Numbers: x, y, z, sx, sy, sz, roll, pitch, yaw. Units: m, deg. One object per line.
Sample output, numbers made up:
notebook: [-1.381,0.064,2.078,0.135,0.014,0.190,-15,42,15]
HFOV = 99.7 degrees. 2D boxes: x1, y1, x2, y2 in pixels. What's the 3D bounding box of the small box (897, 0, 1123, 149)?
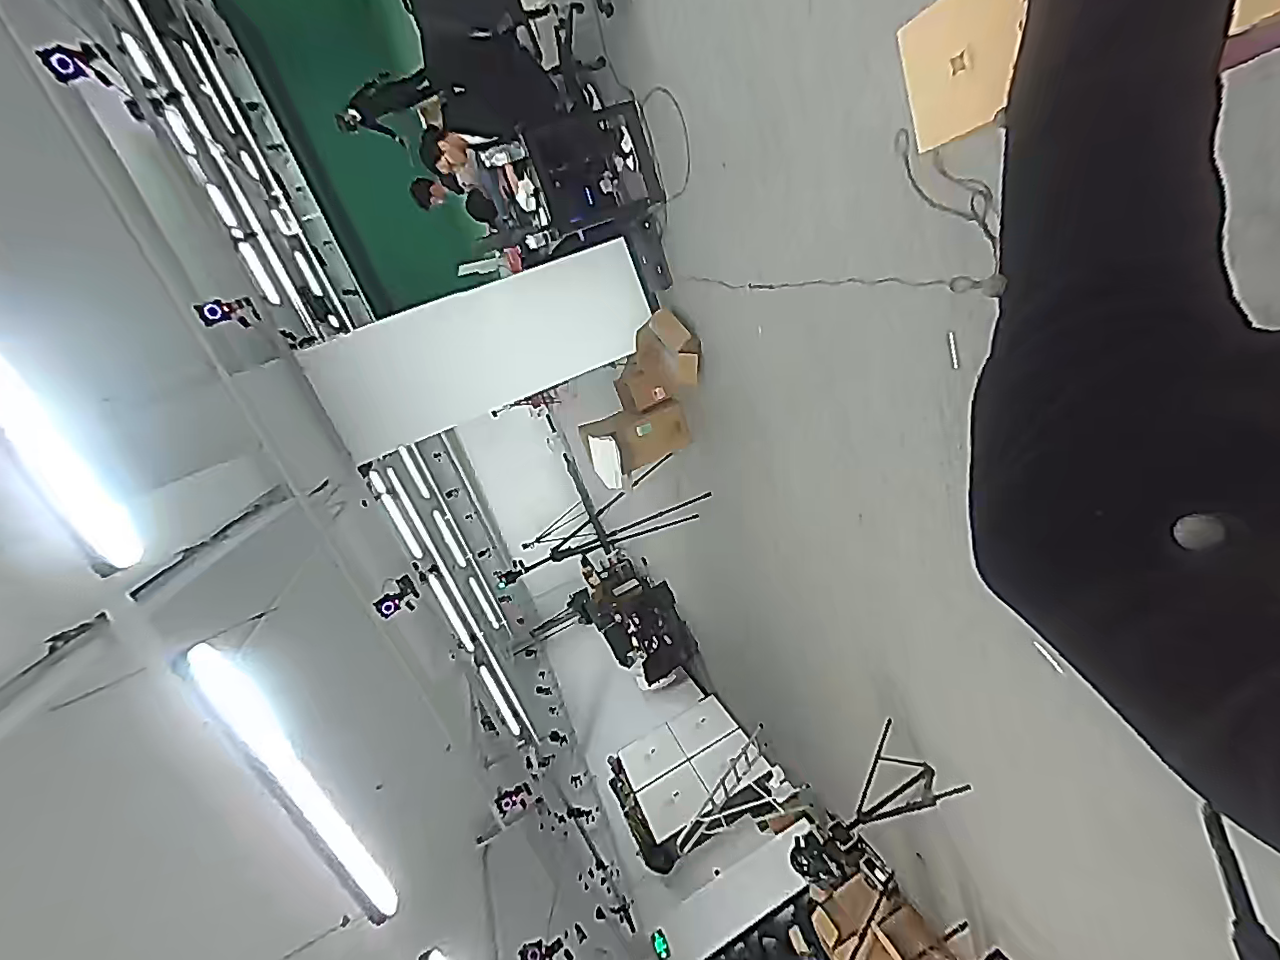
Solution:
small box: [0.484,-0.578,0.718,0.168,0.176,0.179,69,165,-17]
